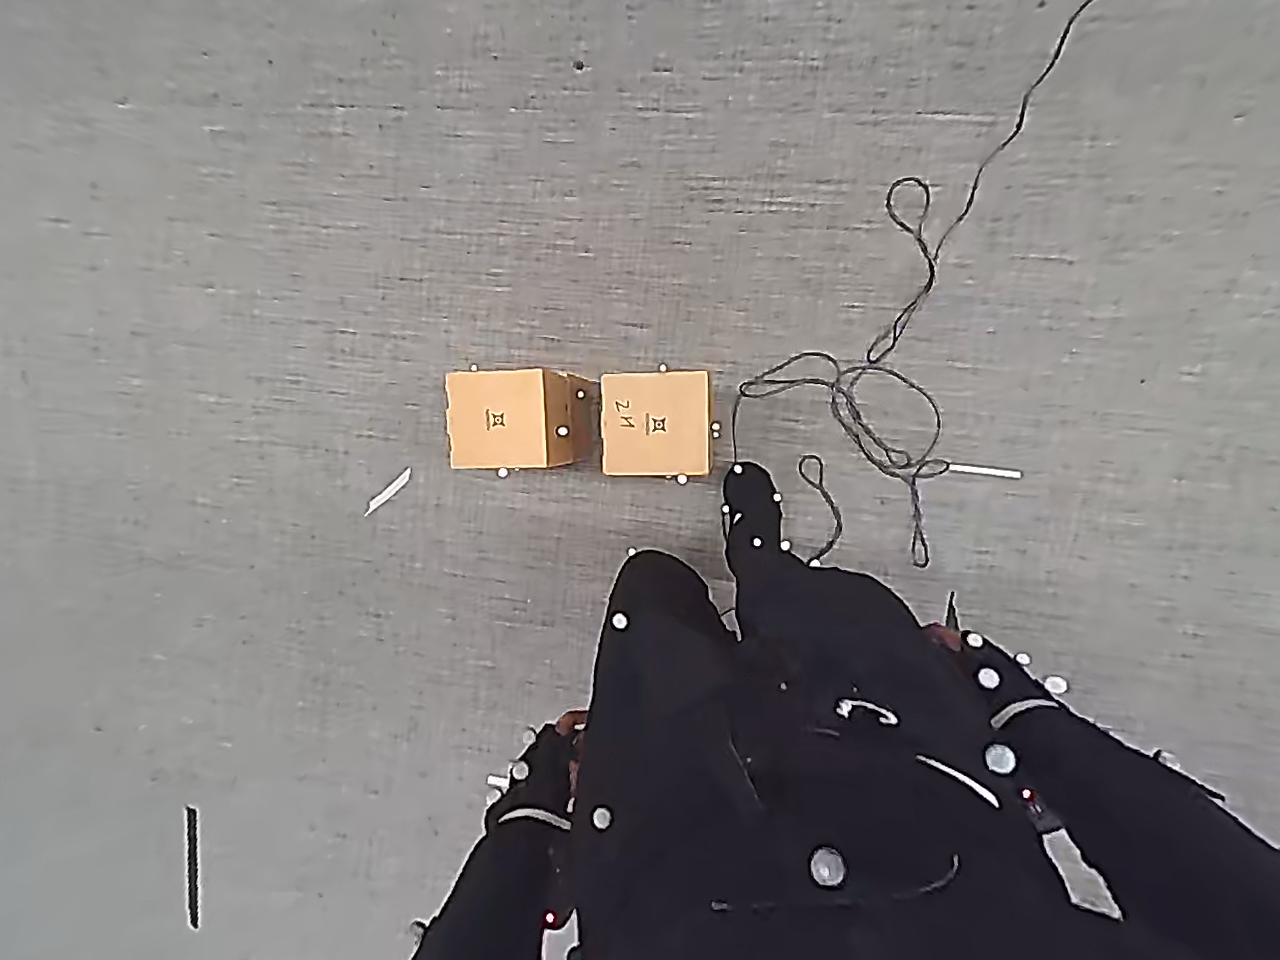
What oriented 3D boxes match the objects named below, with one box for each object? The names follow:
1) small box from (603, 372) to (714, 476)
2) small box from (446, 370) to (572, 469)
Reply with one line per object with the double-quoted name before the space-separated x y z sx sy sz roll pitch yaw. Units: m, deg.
"small box" 0.039 -0.098 0.936 0.179 0.176 0.168 0 95 10
"small box" -0.226 -0.108 0.981 0.179 0.176 0.168 -1 95 10
